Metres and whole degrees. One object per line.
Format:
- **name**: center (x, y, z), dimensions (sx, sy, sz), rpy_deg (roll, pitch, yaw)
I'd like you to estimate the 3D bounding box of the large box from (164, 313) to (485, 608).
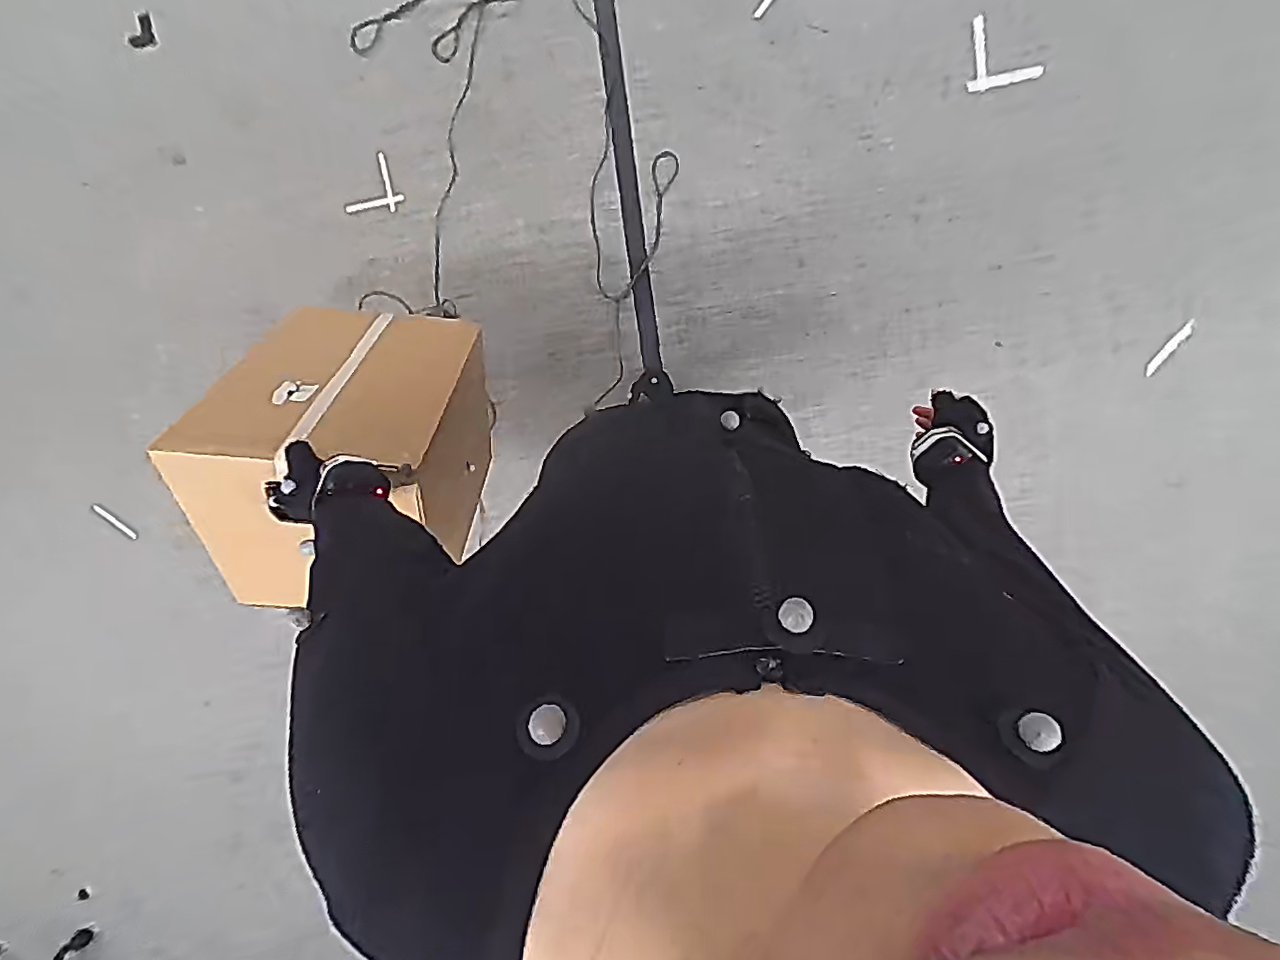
- **large box**: center (-0.459, -0.041, 0.919), dimensions (0.320, 0.408, 0.320), rpy_deg (3, 133, -5)
